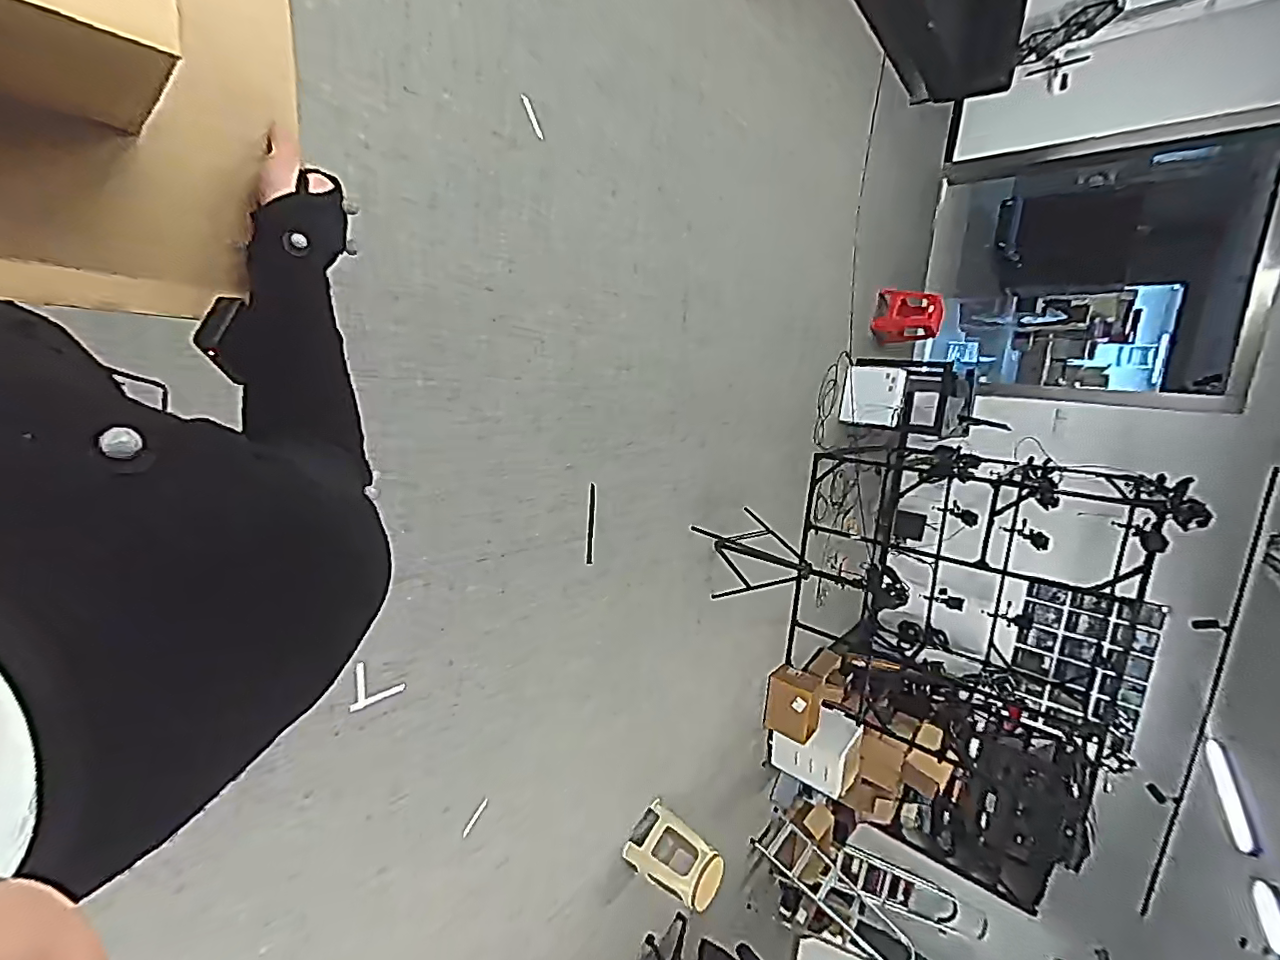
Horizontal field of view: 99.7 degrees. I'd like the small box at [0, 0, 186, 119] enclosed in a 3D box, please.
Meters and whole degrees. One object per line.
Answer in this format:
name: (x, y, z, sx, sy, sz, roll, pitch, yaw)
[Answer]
small box: (-0.415, -0.354, 0.331, 0.179, 0.176, 0.168, -10, 105, -48)
